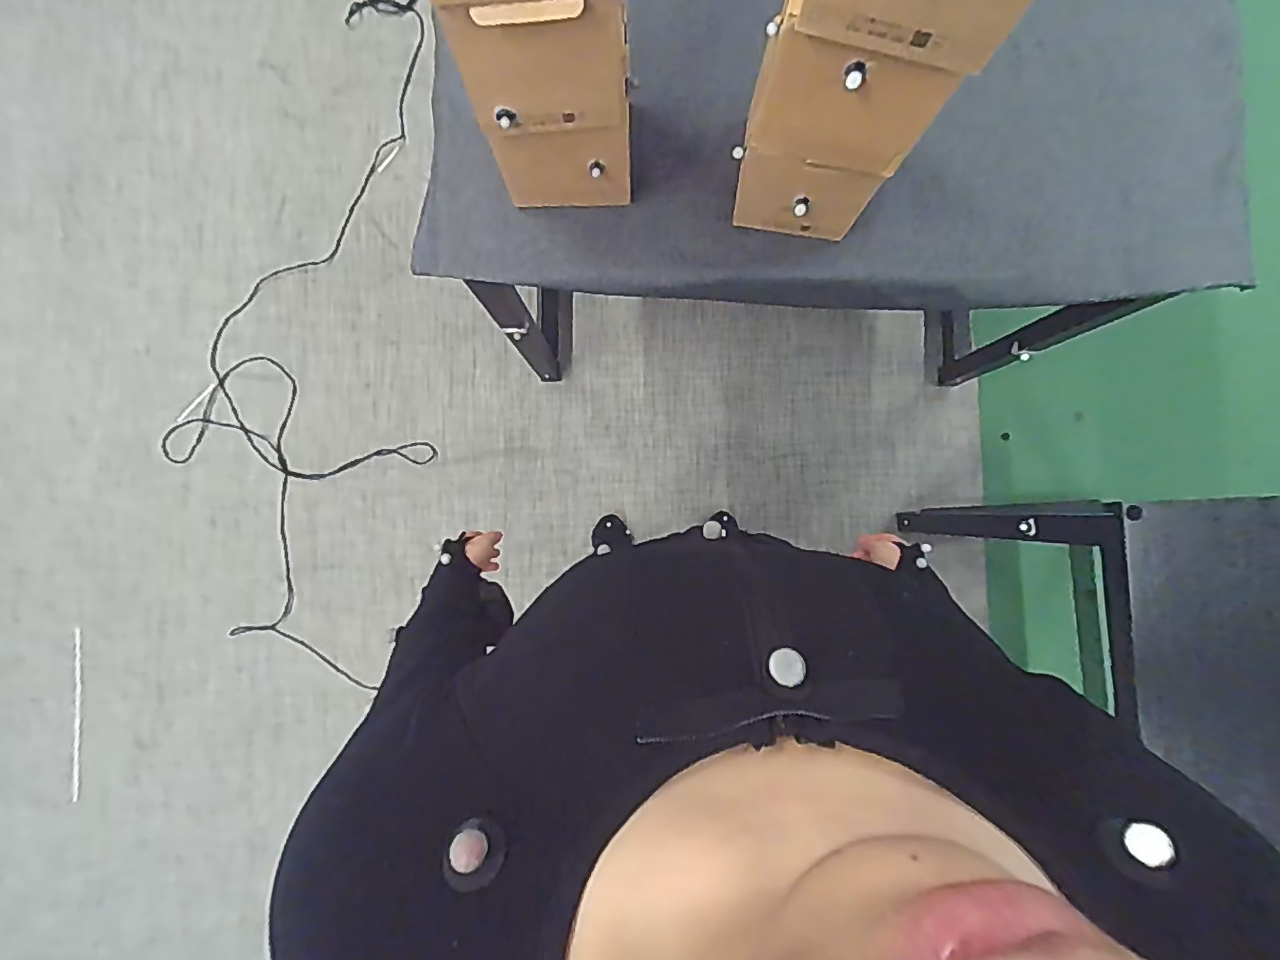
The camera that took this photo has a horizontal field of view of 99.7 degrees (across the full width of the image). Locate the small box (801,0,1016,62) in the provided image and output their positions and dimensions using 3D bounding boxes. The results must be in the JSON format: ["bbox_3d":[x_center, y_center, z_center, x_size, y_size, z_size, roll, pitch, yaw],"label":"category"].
[{"bbox_3d":[0.227,-0.458,0.391,0.168,0.176,0.179,15,86,2],"label":"small box"}]

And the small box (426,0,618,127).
[{"bbox_3d":[-0.115,-0.503,0.564,0.168,0.176,0.179,-6,84,0],"label":"small box"}]

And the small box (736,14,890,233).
[{"bbox_3d":[0.228,-0.457,0.720,0.168,0.176,0.179,8,87,2],"label":"small box"}]

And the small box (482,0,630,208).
[{"bbox_3d":[-0.103,-0.492,0.728,0.179,0.176,0.168,-2,85,1],"label":"small box"}]

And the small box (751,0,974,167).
[{"bbox_3d":[0.229,-0.459,0.557,0.179,0.176,0.168,14,86,3],"label":"small box"}]
